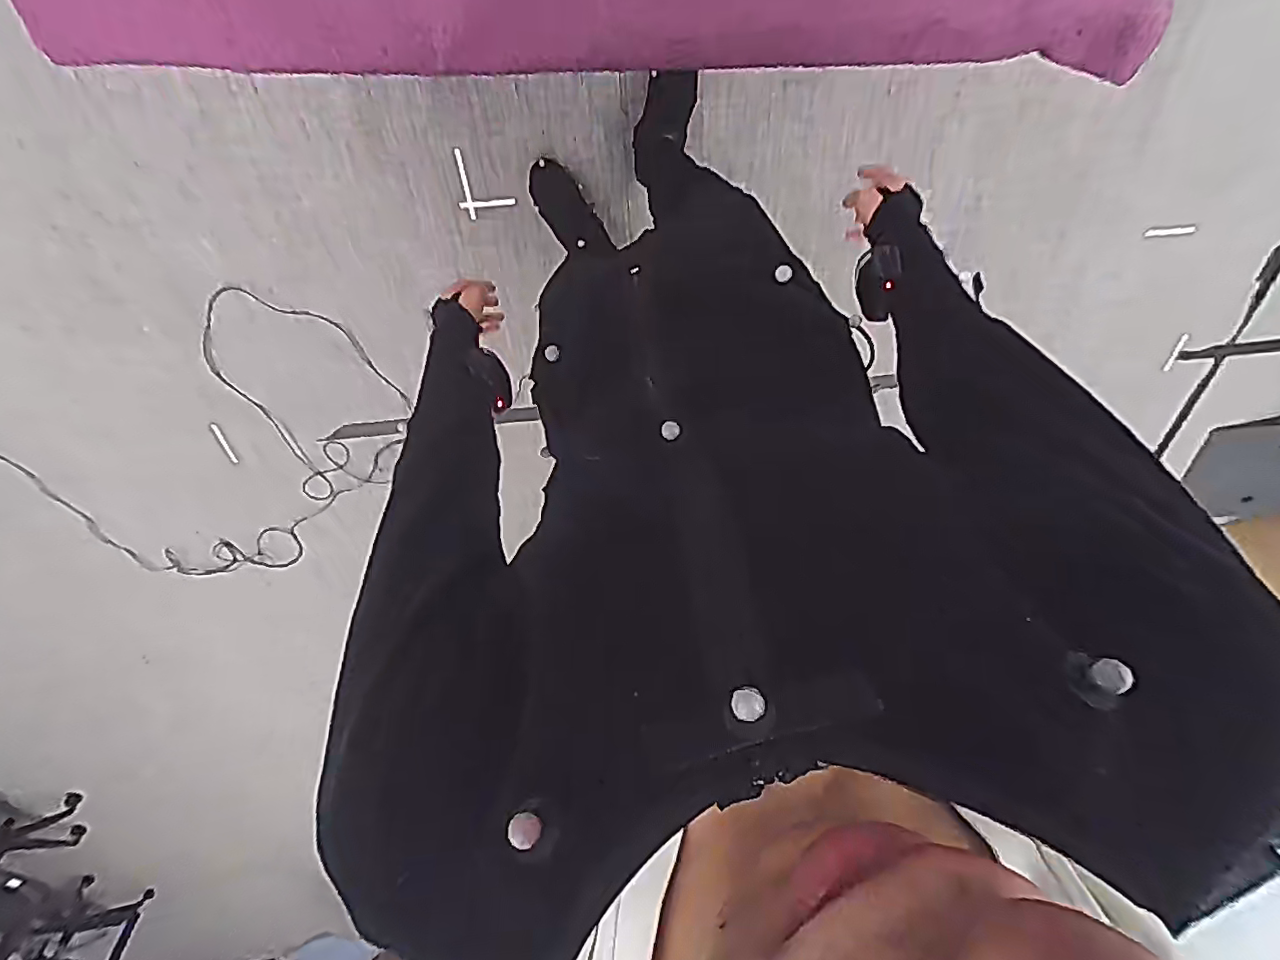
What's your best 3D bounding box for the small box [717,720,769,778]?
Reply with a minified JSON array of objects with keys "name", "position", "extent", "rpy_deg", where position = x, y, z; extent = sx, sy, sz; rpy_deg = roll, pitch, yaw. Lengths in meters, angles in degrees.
[{"name":"small box","position":[0.451,1.184,2.386],"extent":[0.179,0.176,0.168],"rpy_deg":[-7,128,-5]}]
